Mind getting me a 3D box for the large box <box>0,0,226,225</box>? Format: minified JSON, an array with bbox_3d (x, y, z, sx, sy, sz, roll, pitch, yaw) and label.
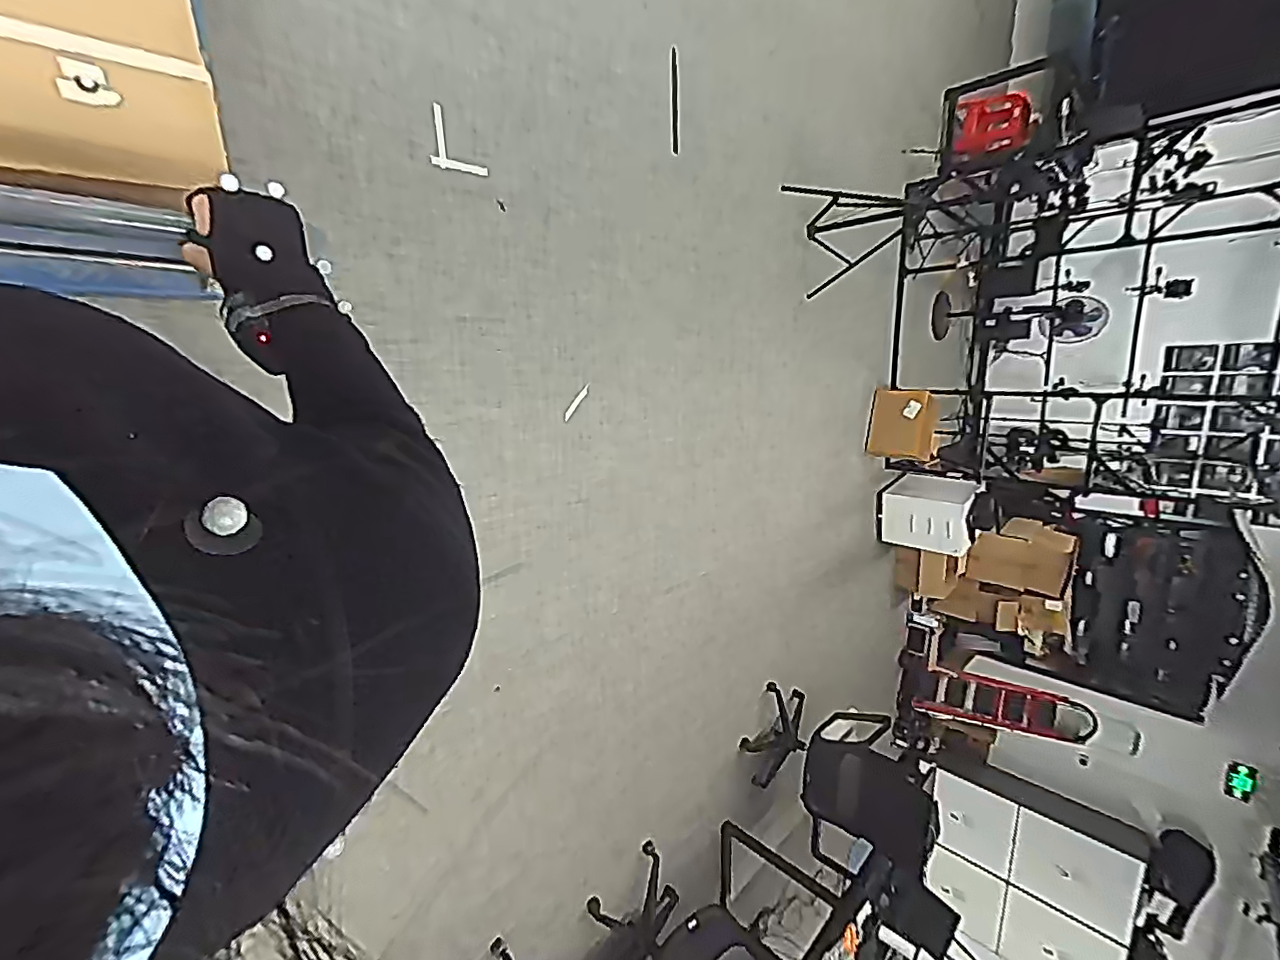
[{"bbox_3d":[-0.884,-0.565,0.749,0.408,0.320,0.320,-18,111,-45],"label":"large box"}]
